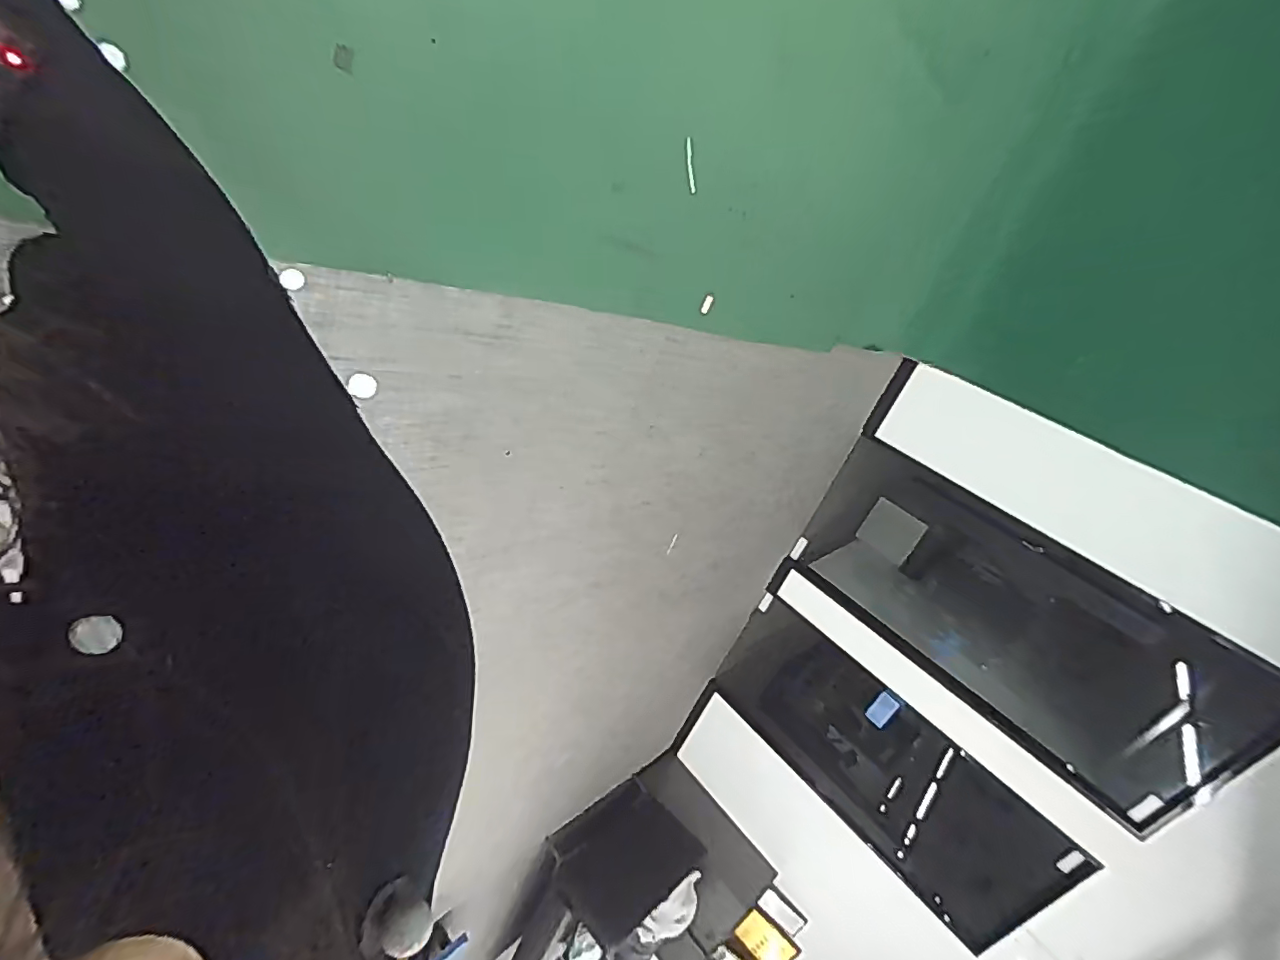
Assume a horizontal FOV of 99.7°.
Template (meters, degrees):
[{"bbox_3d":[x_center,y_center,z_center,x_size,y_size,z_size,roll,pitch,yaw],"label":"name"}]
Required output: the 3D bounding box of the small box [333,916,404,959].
[{"bbox_3d":[-0.958,1.690,1.898,0.168,0.176,0.179,-7,130,-49],"label":"small box"}]
